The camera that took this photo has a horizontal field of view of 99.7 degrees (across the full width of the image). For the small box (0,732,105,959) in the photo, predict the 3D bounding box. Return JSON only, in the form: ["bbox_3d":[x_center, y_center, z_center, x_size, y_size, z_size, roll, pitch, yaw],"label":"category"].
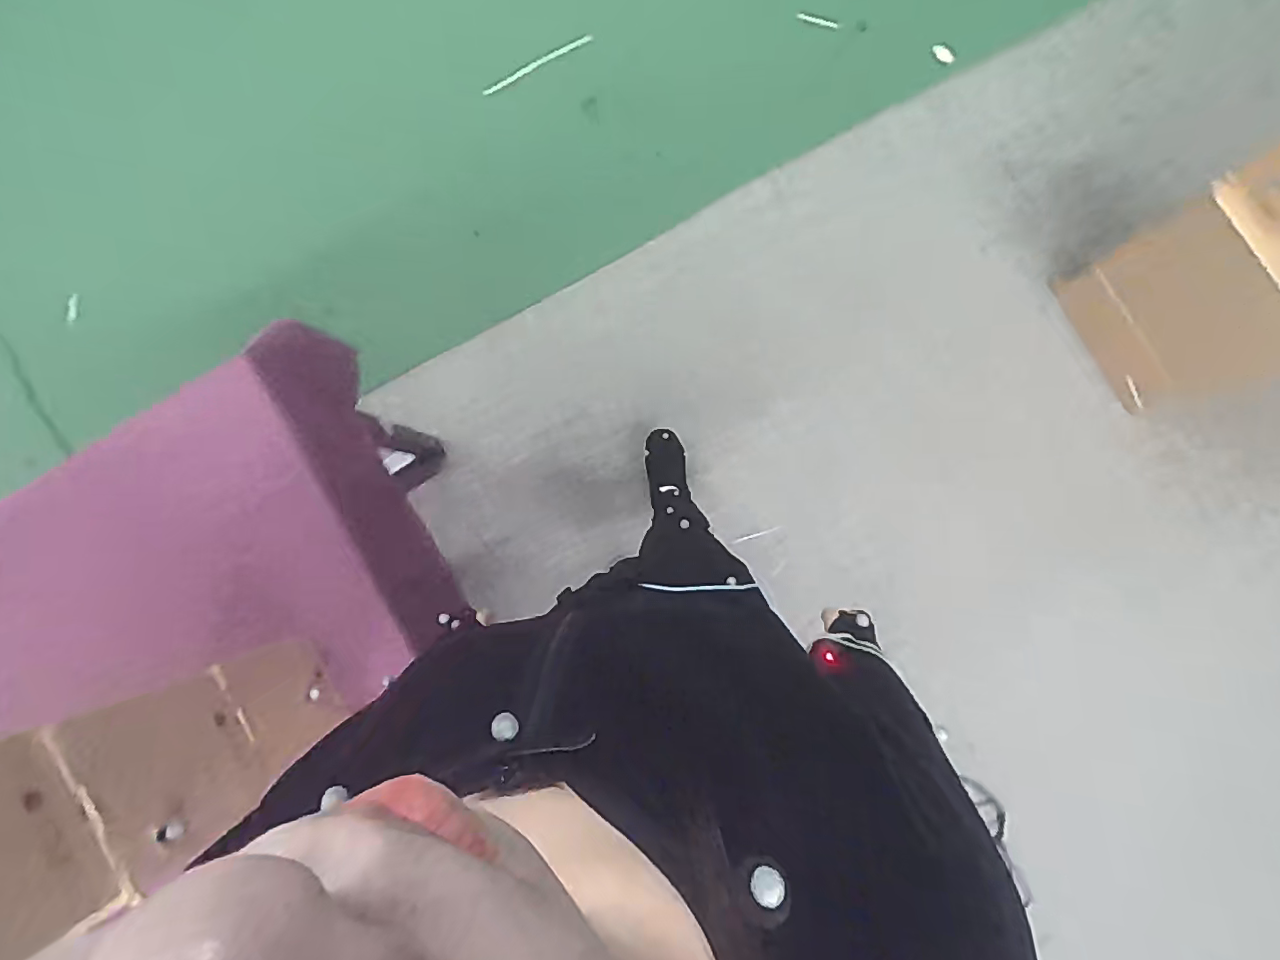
[{"bbox_3d":[-0.546,0.317,0.383,0.179,0.176,0.168,-33,85,2],"label":"small box"}]

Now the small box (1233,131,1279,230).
[{"bbox_3d":[1.244,-0.587,0.955,0.179,0.176,0.168,-30,86,3],"label":"small box"}]
